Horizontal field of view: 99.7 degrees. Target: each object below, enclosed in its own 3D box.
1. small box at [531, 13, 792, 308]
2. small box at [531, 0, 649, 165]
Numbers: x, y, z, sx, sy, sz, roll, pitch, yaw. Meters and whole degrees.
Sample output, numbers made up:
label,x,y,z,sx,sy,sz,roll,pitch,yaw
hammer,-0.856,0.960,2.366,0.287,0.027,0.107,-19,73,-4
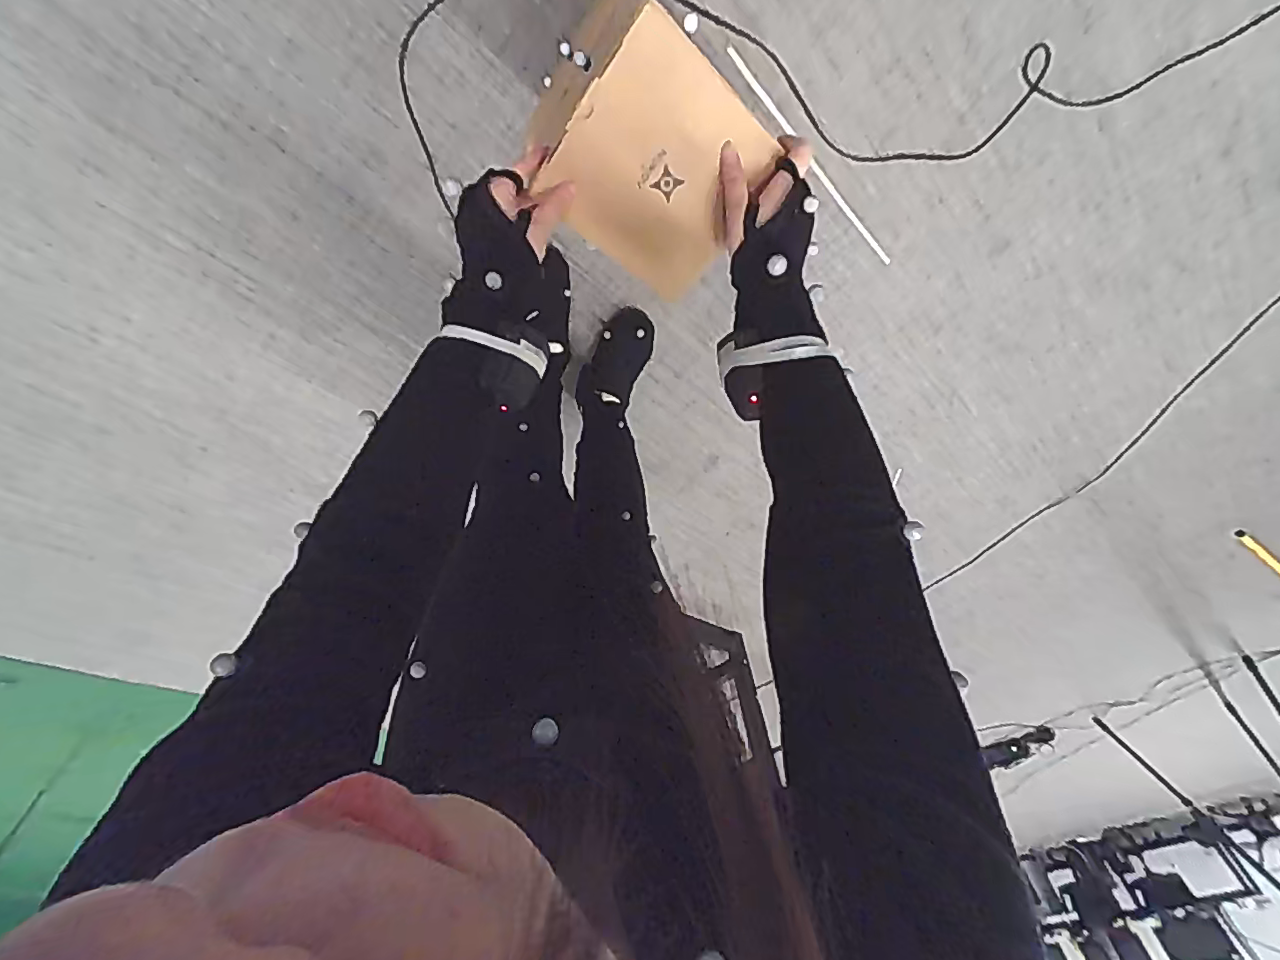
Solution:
label,x,y,z,sx,sy,sz,roll,pitch,yaw
small box,0.016,-0.314,0.534,0.179,0.176,0.168,29,126,-28
small box,-0.010,-0.429,0.647,0.168,0.176,0.179,28,125,-29
